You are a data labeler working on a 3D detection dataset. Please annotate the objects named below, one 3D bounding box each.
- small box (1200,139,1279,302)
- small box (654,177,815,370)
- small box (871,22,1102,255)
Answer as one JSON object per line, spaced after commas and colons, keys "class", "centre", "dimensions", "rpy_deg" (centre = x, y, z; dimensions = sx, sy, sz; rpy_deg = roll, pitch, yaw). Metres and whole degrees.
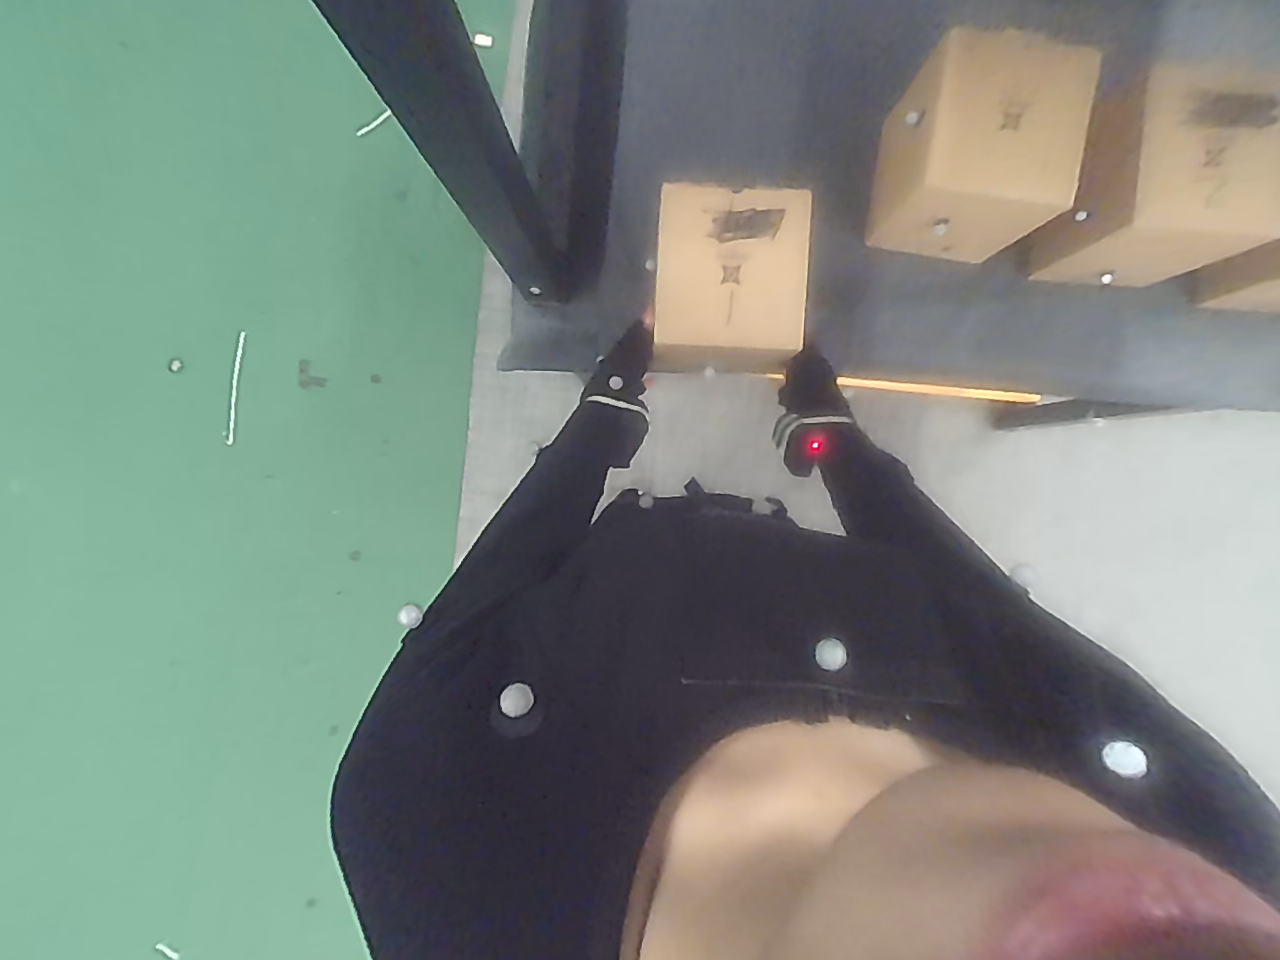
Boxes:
{"class": "small box", "centre": [0.847, -0.324, 0.657], "dimensions": [0.168, 0.176, 0.179], "rpy_deg": [4, 91, 0]}
{"class": "small box", "centre": [0.105, -0.241, 0.670], "dimensions": [0.168, 0.176, 0.179], "rpy_deg": [3, 93, 0]}
{"class": "small box", "centre": [0.406, -0.400, 0.667], "dimensions": [0.168, 0.176, 0.179], "rpy_deg": [9, 91, 1]}
